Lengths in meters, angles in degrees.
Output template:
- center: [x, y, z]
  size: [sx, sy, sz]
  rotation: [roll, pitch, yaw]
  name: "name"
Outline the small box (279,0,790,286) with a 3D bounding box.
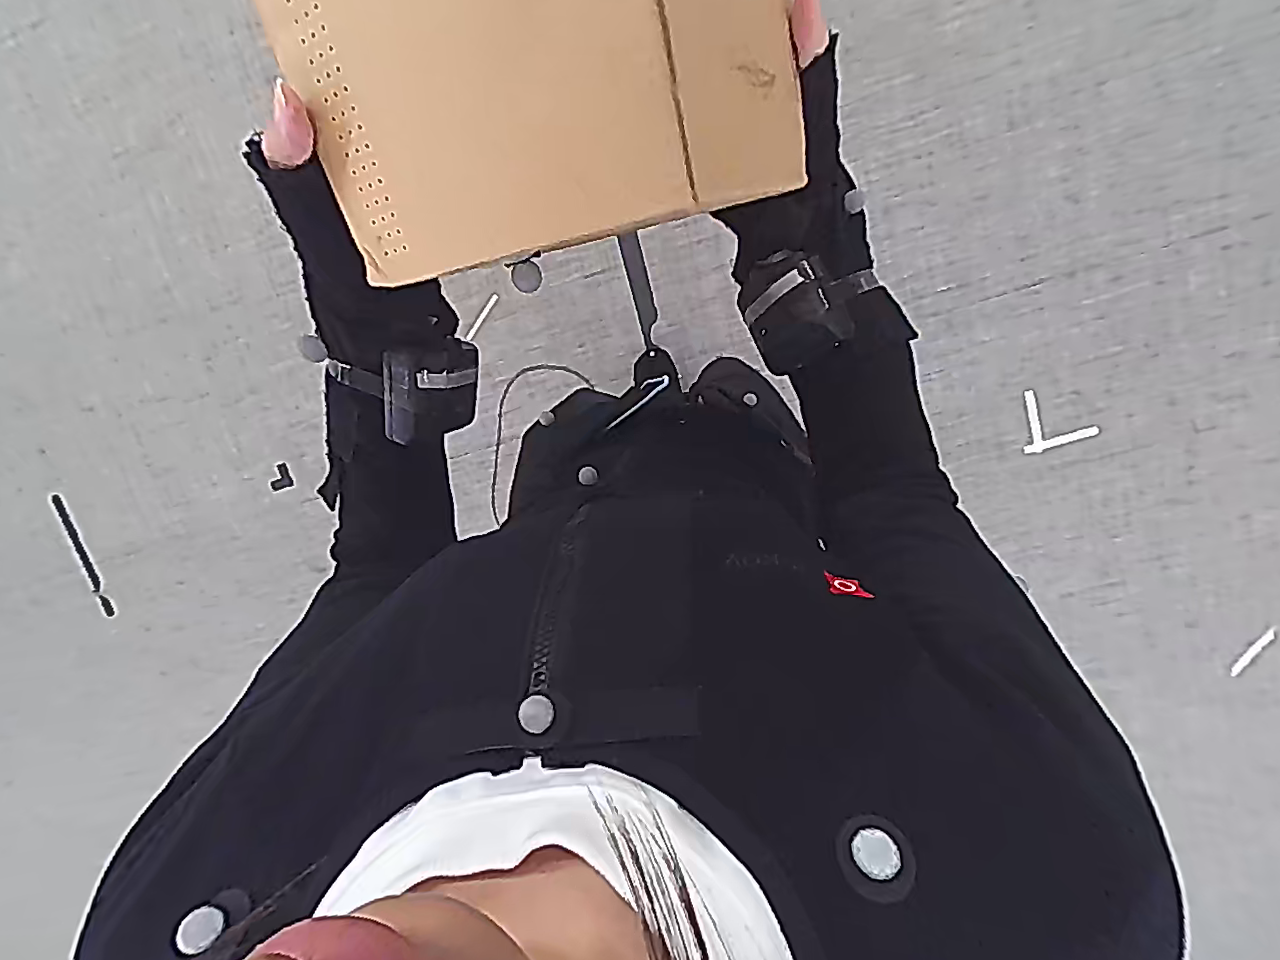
- center: [-0.039, -0.206, 0.252]
  size: [0.176, 0.168, 0.179]
  rotation: [1, 117, 29]
  name: "small box"
